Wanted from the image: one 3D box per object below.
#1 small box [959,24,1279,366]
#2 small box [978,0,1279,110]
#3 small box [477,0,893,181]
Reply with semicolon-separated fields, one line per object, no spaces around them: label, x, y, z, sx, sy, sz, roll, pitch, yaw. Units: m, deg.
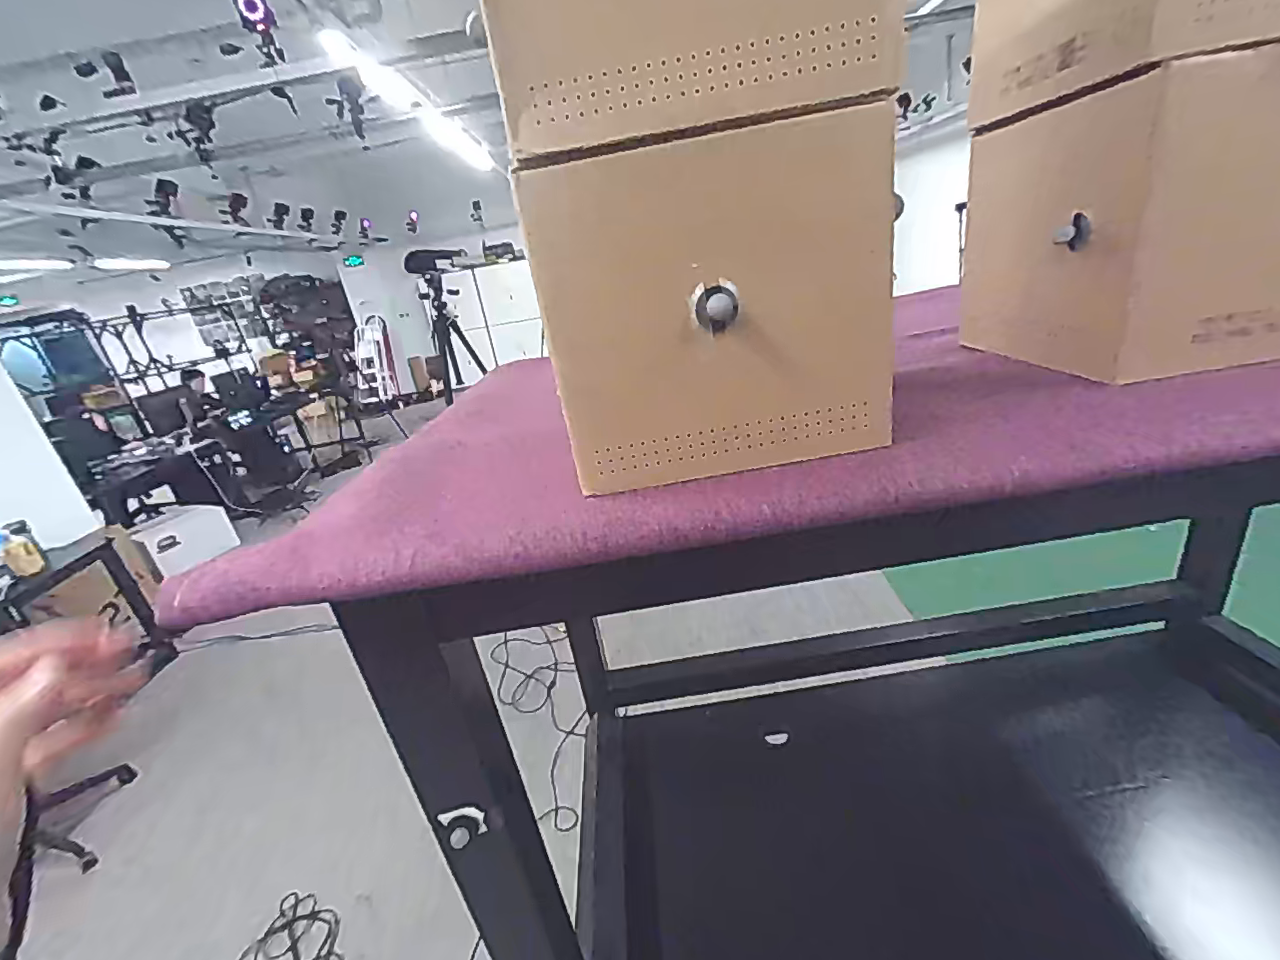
small box;0.347;-0.179;0.366;0.168;0.176;0.179;-8;21;2
small box;0.320;-0.330;0.305;0.179;0.176;0.168;-8;23;3
small box;0.008;-0.263;0.274;0.179;0.176;0.168;-11;23;0
